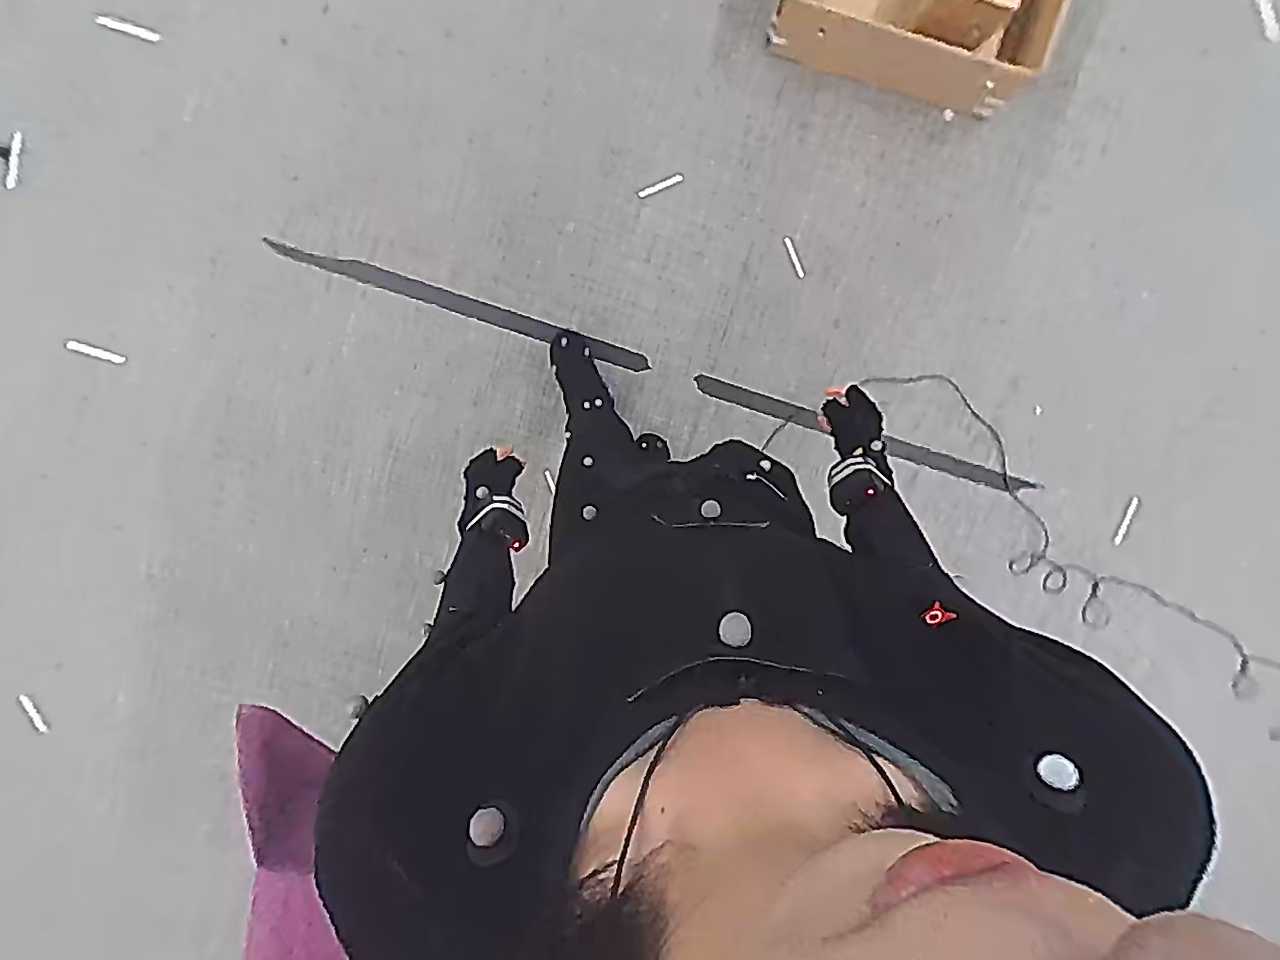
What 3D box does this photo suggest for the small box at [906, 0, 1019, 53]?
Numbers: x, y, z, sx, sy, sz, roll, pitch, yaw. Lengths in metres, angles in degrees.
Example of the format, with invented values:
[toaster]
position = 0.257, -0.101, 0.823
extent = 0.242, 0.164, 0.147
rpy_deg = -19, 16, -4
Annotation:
[small box]
position = 0.750, -1.125, 1.234
extent = 0.179, 0.176, 0.168
rpy_deg = 14, 97, -1
